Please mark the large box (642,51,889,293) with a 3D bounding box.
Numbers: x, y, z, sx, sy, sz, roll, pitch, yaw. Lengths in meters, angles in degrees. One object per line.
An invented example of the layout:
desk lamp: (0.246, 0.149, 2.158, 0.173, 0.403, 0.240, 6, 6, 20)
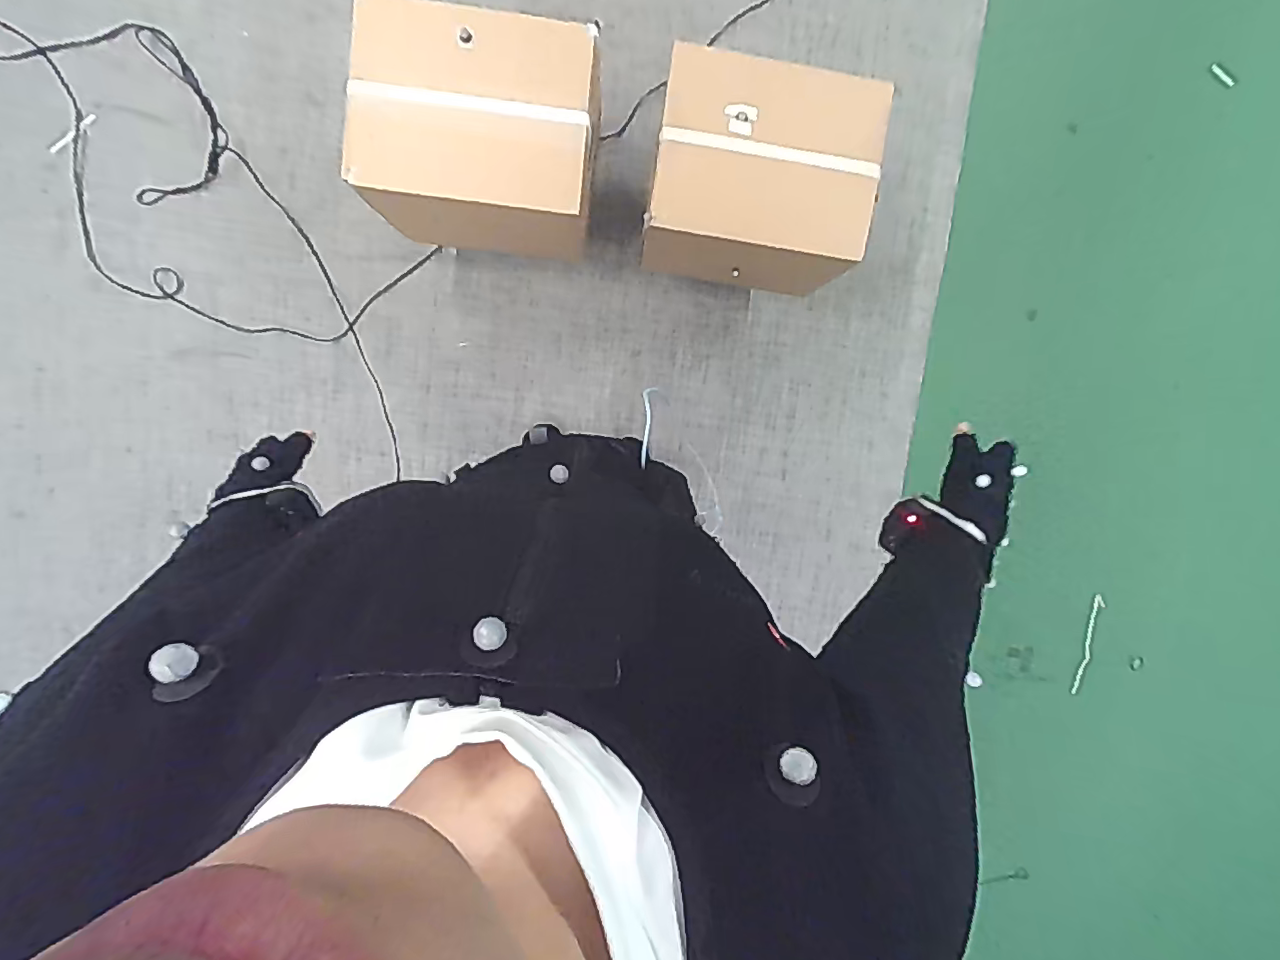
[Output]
large box: (0.231, -0.602, 1.131, 0.408, 0.320, 0.320, 8, 96, -4)
